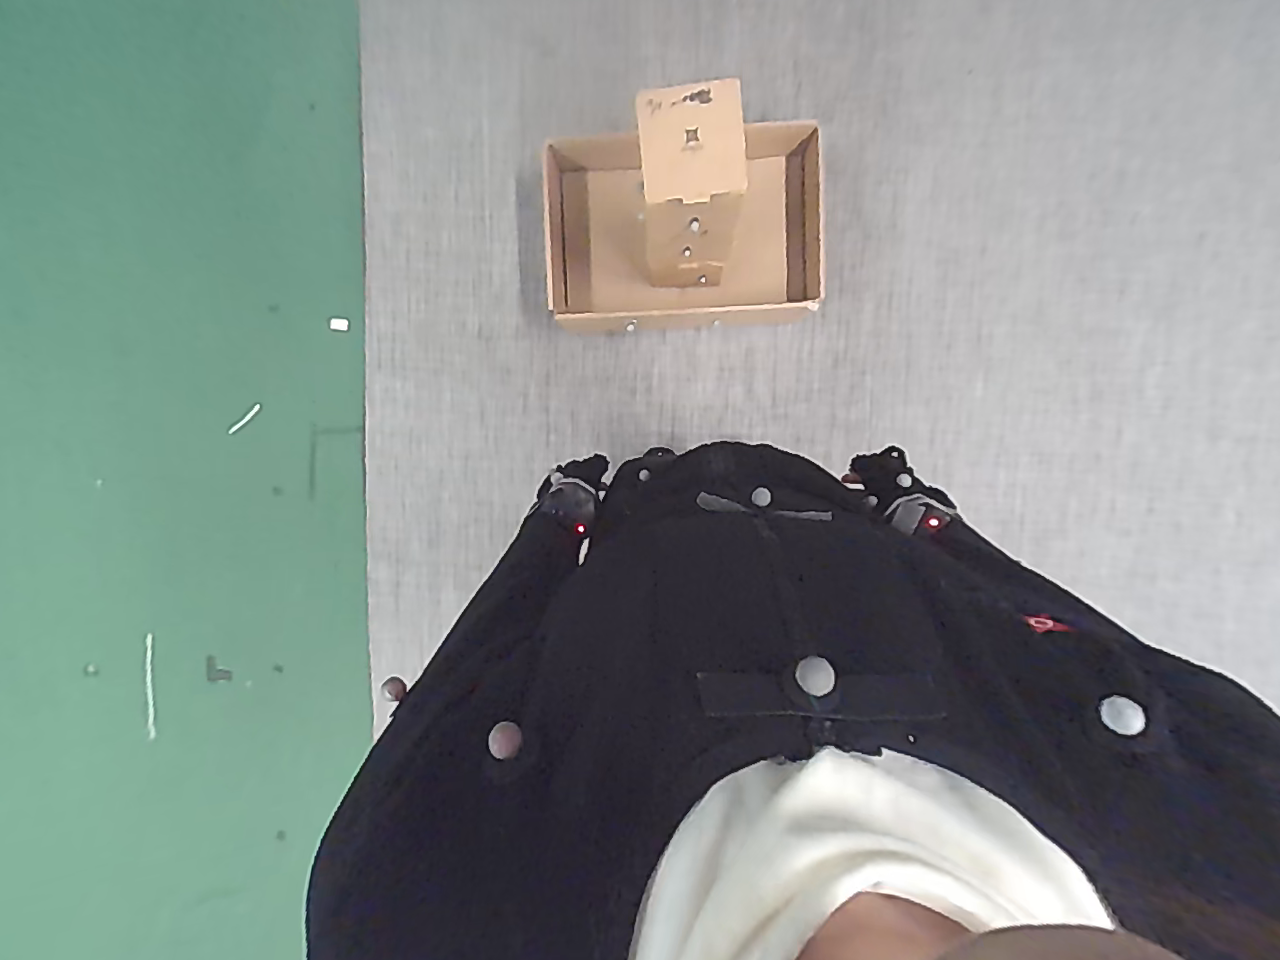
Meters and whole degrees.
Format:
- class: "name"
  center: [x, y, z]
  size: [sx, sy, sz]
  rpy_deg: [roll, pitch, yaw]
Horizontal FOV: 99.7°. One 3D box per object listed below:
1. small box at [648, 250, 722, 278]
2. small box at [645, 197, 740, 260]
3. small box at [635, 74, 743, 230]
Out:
- class: "small box"
  center: [0.106, -0.577, 1.259]
  size: [0.168, 0.176, 0.179]
  rpy_deg: [0, 94, 3]
- class: "small box"
  center: [0.098, -0.561, 1.096]
  size: [0.179, 0.176, 0.168]
  rpy_deg: [-5, 95, 3]
- class: "small box"
  center: [0.084, -0.550, 0.934]
  size: [0.168, 0.176, 0.179]
  rpy_deg: [-4, 95, 4]
